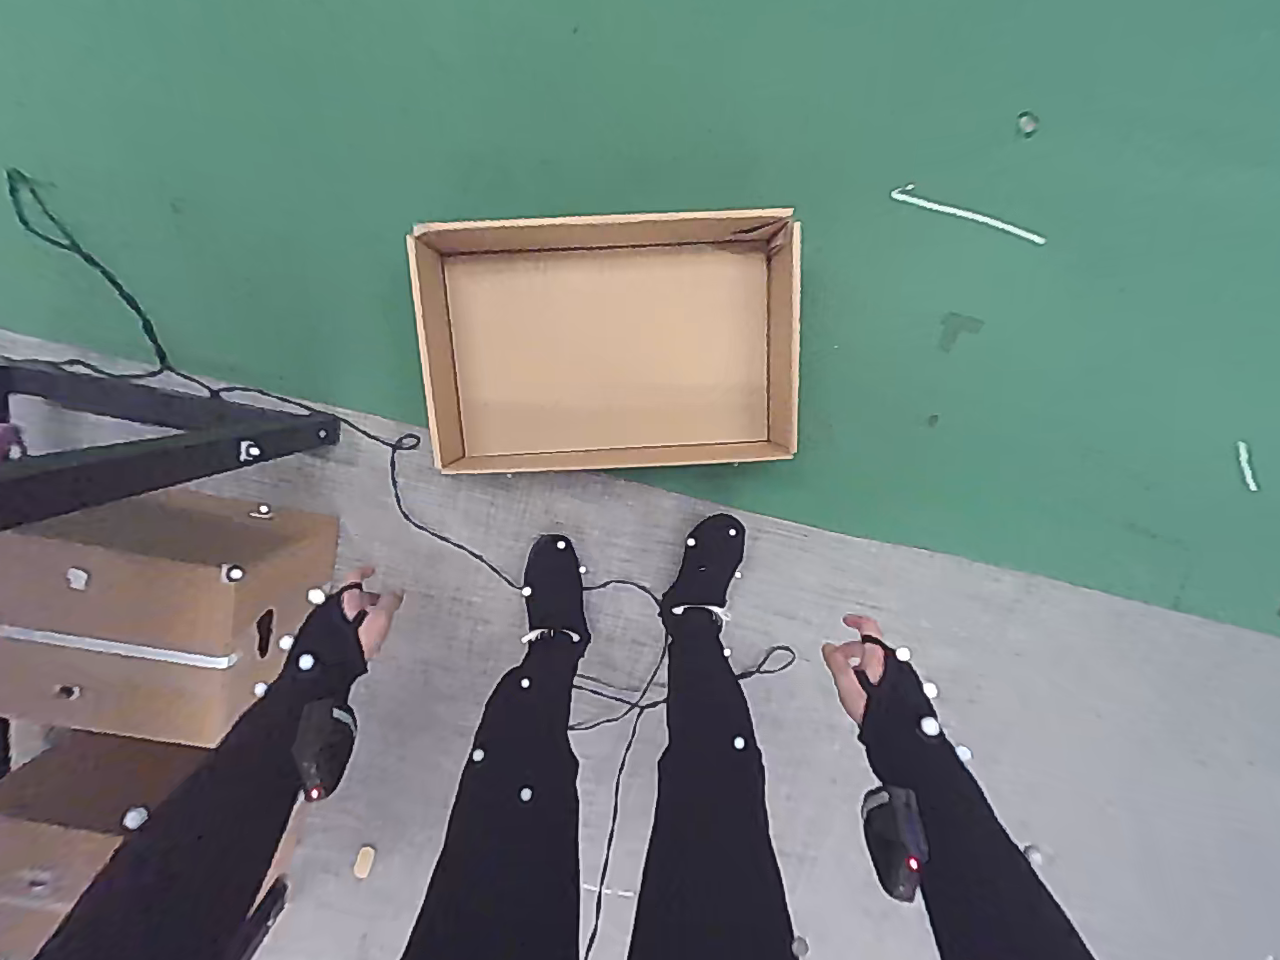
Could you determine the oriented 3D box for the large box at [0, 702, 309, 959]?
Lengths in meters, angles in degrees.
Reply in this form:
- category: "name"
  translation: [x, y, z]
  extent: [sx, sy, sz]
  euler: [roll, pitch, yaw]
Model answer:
- category: "large box"
  translation: [-0.942, 0.688, 1.056]
  extent: [0.408, 0.320, 0.320]
  euler: [13, 100, -3]
